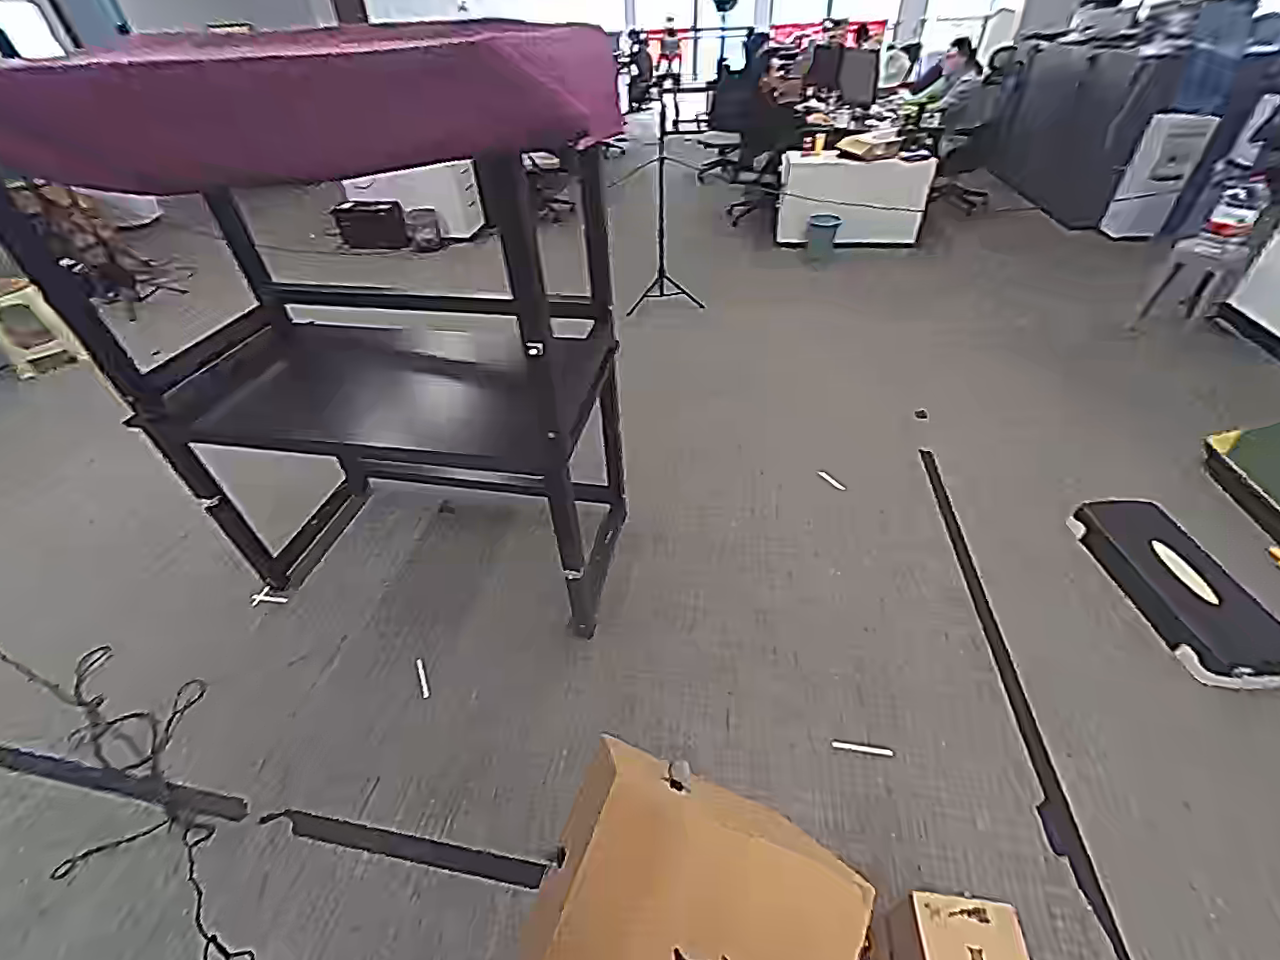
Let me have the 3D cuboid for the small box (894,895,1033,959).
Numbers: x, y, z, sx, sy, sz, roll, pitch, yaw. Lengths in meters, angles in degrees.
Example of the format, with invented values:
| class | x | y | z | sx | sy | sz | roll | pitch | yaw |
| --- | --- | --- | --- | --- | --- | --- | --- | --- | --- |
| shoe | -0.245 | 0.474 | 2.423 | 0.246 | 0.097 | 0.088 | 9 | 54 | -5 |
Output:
| class | x | y | z | sx | sy | sz | roll | pitch | yaw |
| --- | --- | --- | --- | --- | --- | --- | --- | --- | --- |
| small box | 0.546 | 0.834 | 0.908 | 0.168 | 0.176 | 0.179 | 3 | 42 | 7 |

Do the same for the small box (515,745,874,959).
| class | x | y | z | sx | sy | sz | roll | pitch | yaw |
| --- | --- | --- | --- | --- | --- | --- | --- | --- | --- |
| small box | 0.021 | 0.302 | 0.373 | 0.179 | 0.176 | 0.168 | 24 | 70 | 1 |

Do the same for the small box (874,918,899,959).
| class | x | y | z | sx | sy | sz | roll | pitch | yaw |
| --- | --- | --- | --- | --- | --- | --- | --- | --- | --- |
| small box | 0.550 | 0.961 | 1.013 | 0.179 | 0.176 | 0.168 | 7 | 42 | 10 |
